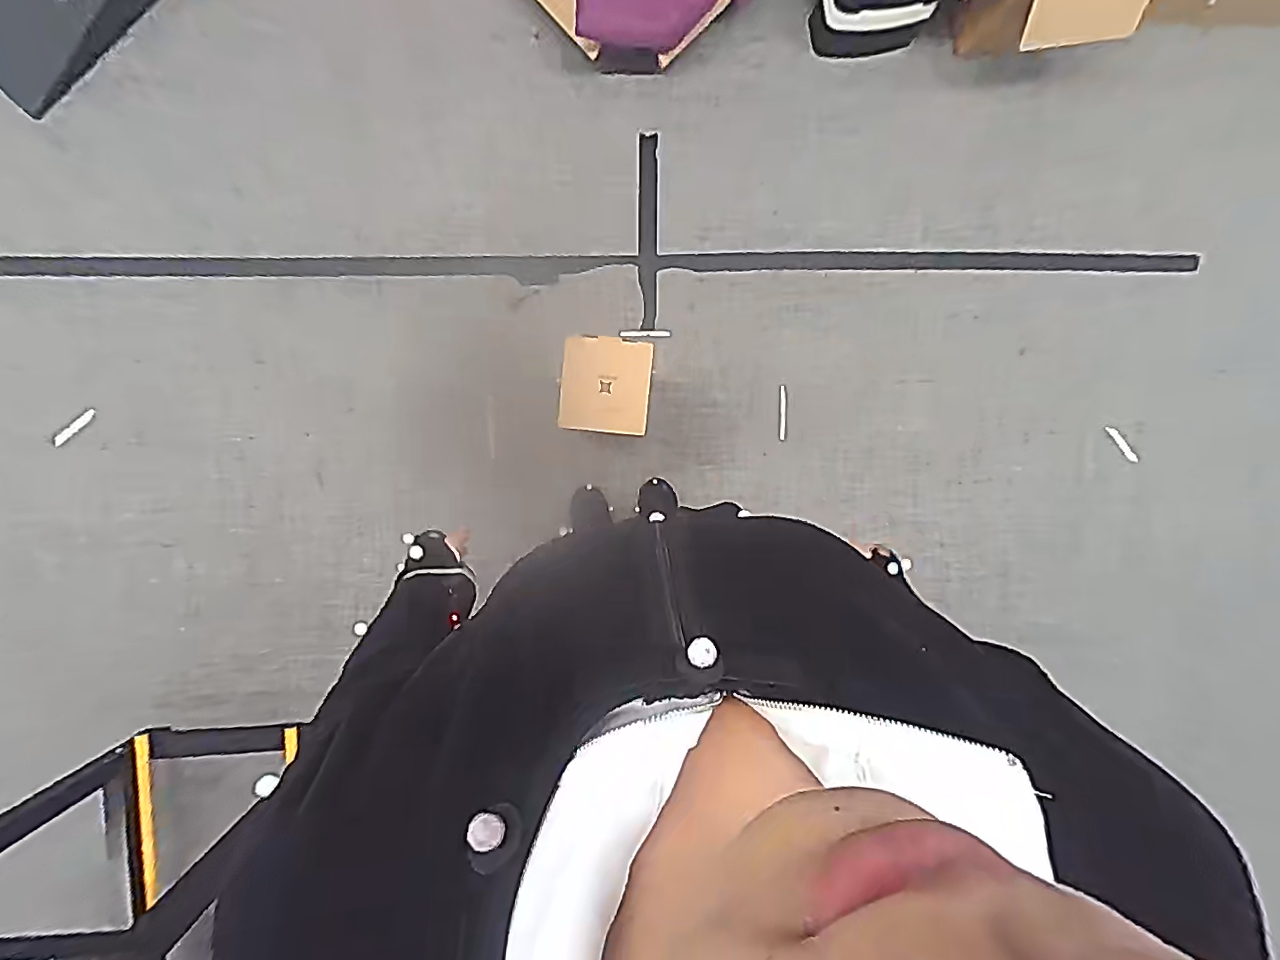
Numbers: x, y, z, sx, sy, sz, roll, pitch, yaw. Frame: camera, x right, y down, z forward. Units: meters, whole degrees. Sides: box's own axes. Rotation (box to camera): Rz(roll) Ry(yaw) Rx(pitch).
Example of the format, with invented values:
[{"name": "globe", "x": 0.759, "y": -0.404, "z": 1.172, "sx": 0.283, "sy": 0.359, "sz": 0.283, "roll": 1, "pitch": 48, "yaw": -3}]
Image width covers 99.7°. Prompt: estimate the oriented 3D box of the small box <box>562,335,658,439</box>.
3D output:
[{"name": "small box", "x": -0.061, "y": -0.177, "z": 1.074, "sx": 0.168, "sy": 0.176, "sz": 0.179, "roll": 5, "pitch": 94, "yaw": -3}]
